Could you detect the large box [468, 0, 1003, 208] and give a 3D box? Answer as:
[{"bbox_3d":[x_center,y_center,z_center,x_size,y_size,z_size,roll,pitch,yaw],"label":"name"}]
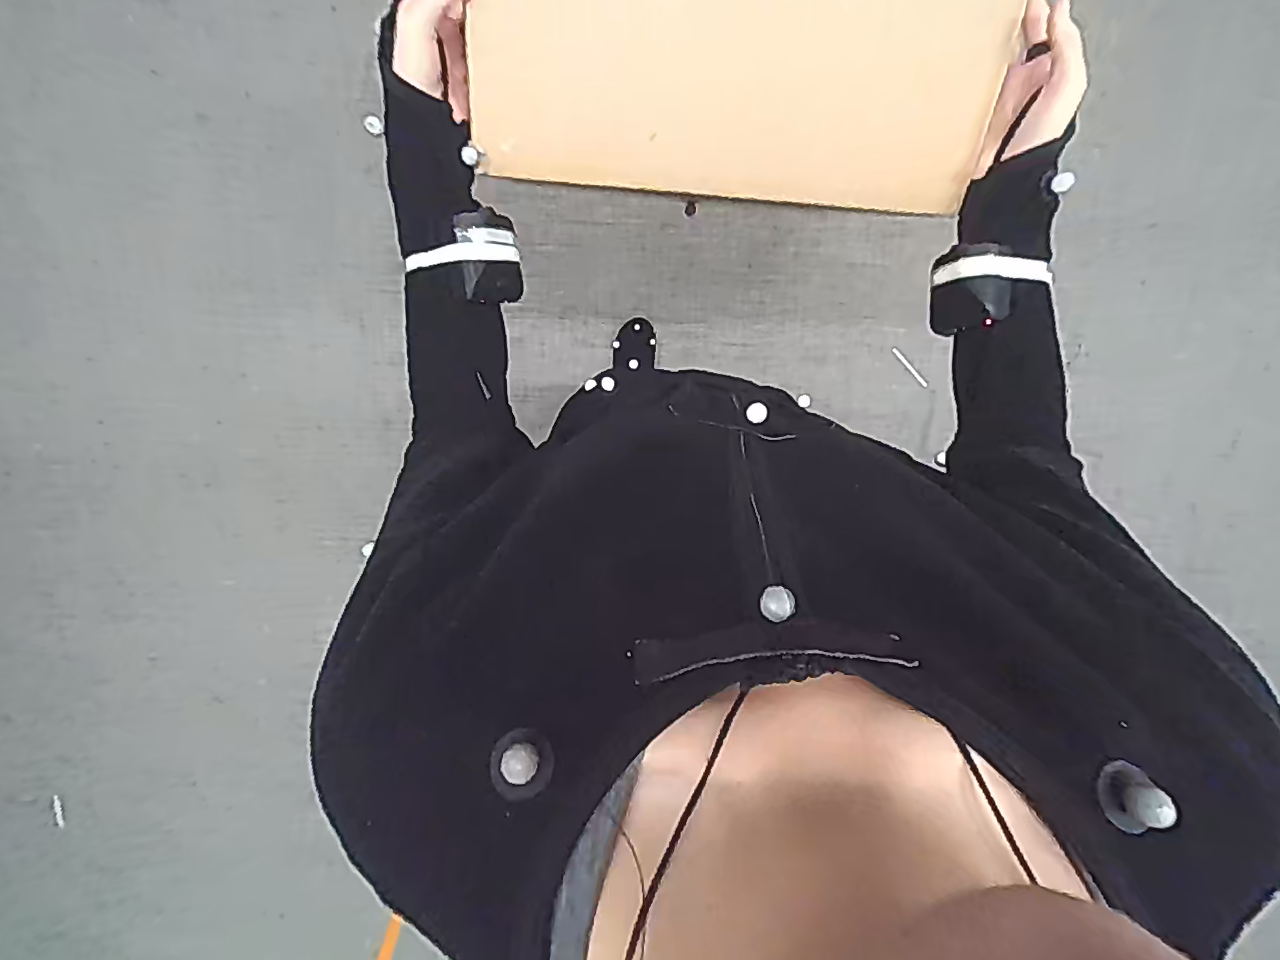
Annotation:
[{"bbox_3d":[0.067,-0.448,0.508,0.408,0.320,0.320,1,118,-7],"label":"large box"}]
